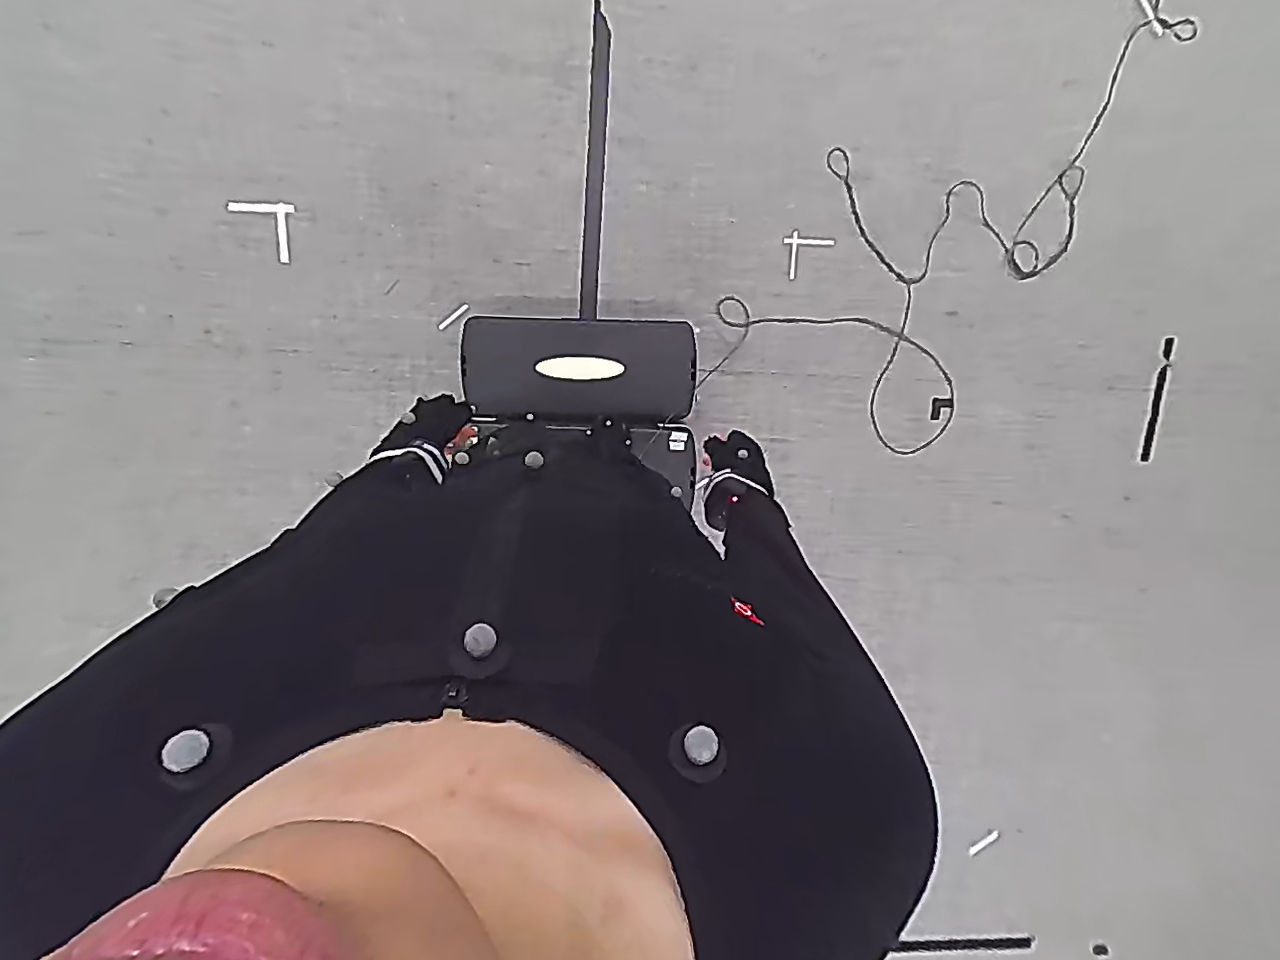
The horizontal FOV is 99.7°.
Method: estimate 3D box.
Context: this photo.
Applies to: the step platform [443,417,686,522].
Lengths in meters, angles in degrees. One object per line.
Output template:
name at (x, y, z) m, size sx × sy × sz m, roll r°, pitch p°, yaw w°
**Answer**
step platform at (-0.208, -0.033, 1.562) m, size 0.684 × 0.204 × 0.286 m, roll 1°, pitch 98°, yaw -3°
